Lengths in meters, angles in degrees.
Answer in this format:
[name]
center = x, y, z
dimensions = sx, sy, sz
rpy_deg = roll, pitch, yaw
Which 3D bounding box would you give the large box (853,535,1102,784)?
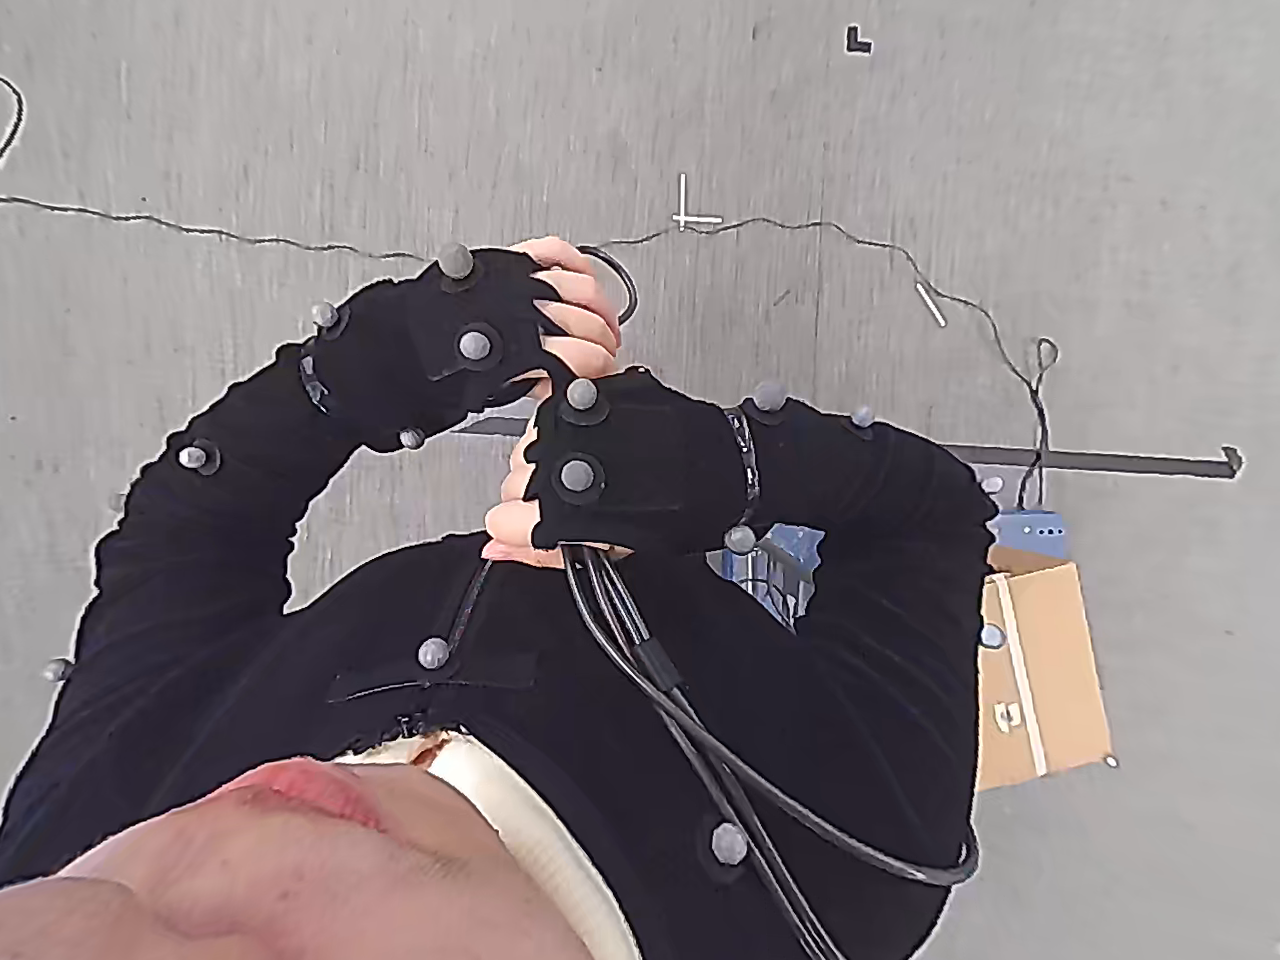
[large box]
center = 0.726, 0.370, 1.214
dimensions = 0.320, 0.320, 0.408
rpy_deg = -13, 93, -1
